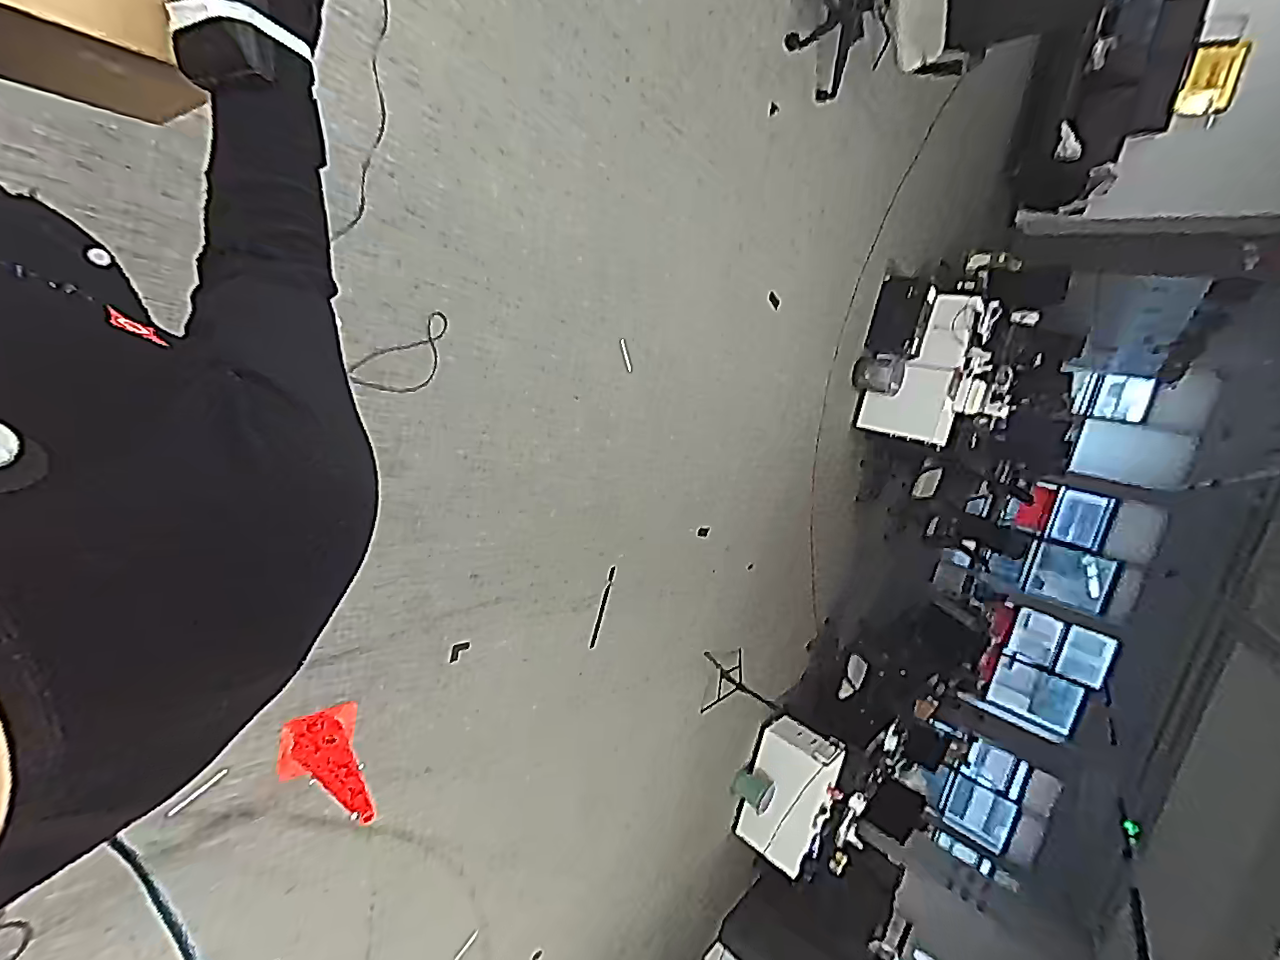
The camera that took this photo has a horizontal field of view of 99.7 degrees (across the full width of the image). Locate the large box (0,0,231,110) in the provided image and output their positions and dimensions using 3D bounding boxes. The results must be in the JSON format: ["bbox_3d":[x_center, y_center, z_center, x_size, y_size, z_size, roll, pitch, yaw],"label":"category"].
[{"bbox_3d":[-0.526,-0.471,0.305,0.408,0.320,0.320,-10,116,-49],"label":"large box"}]

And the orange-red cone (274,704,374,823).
[{"bbox_3d":[-0.838,0.821,1.499,0.198,0.360,0.199,0,104,-51],"label":"orange-red cone"}]
